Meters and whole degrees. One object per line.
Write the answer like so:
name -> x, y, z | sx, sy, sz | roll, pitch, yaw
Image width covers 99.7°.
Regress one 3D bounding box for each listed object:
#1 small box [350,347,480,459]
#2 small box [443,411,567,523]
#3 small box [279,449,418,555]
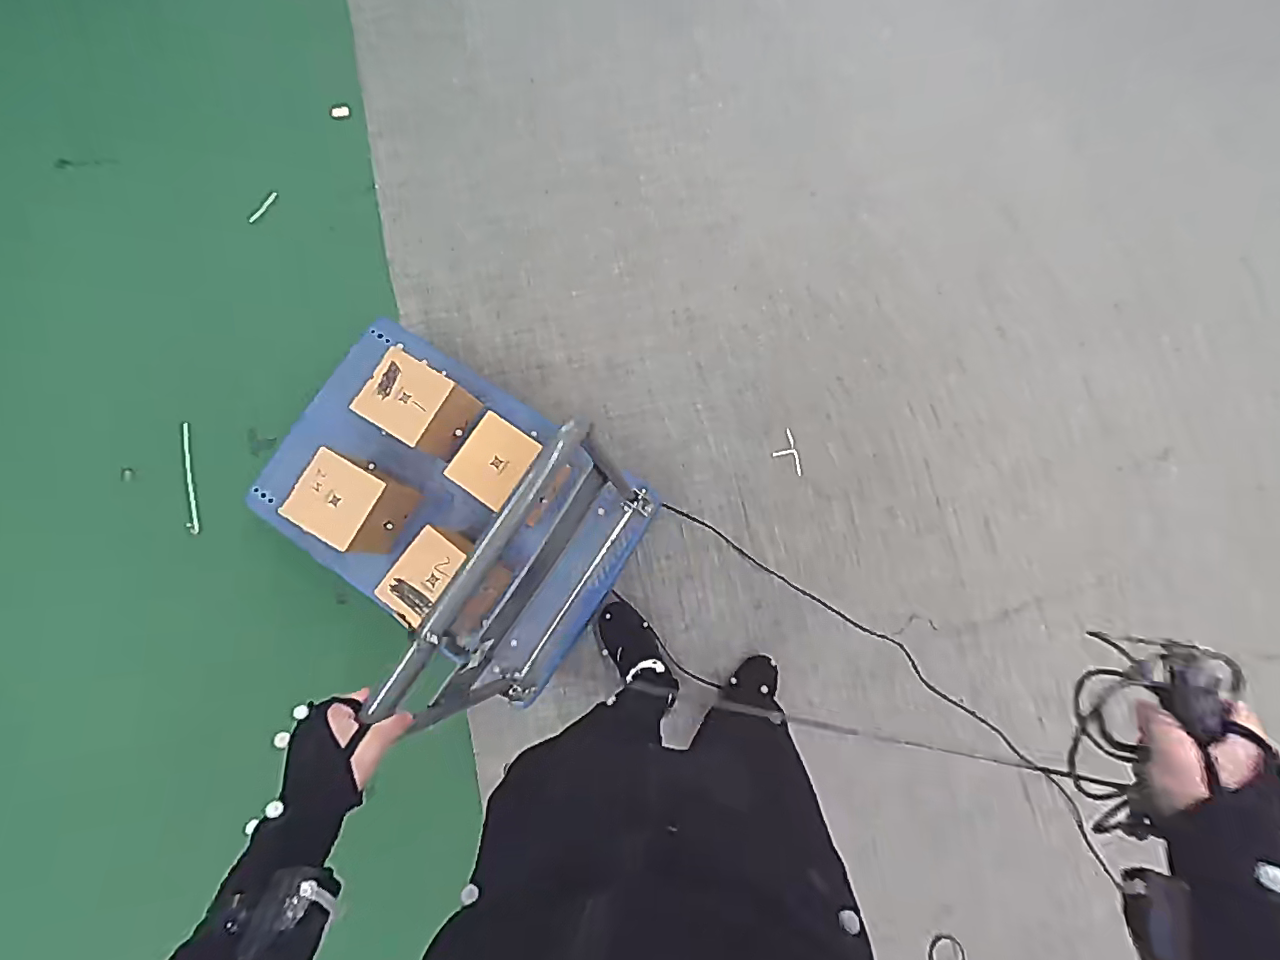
small box -> -0.501, -0.165, 1.229 | 0.179, 0.176, 0.168 | 31, 85, 8
small box -> -0.287, -0.019, 1.189 | 0.179, 0.176, 0.168 | 33, 84, 9
small box -> -0.634, 0.054, 1.202 | 0.179, 0.176, 0.168 | 29, 83, 8
